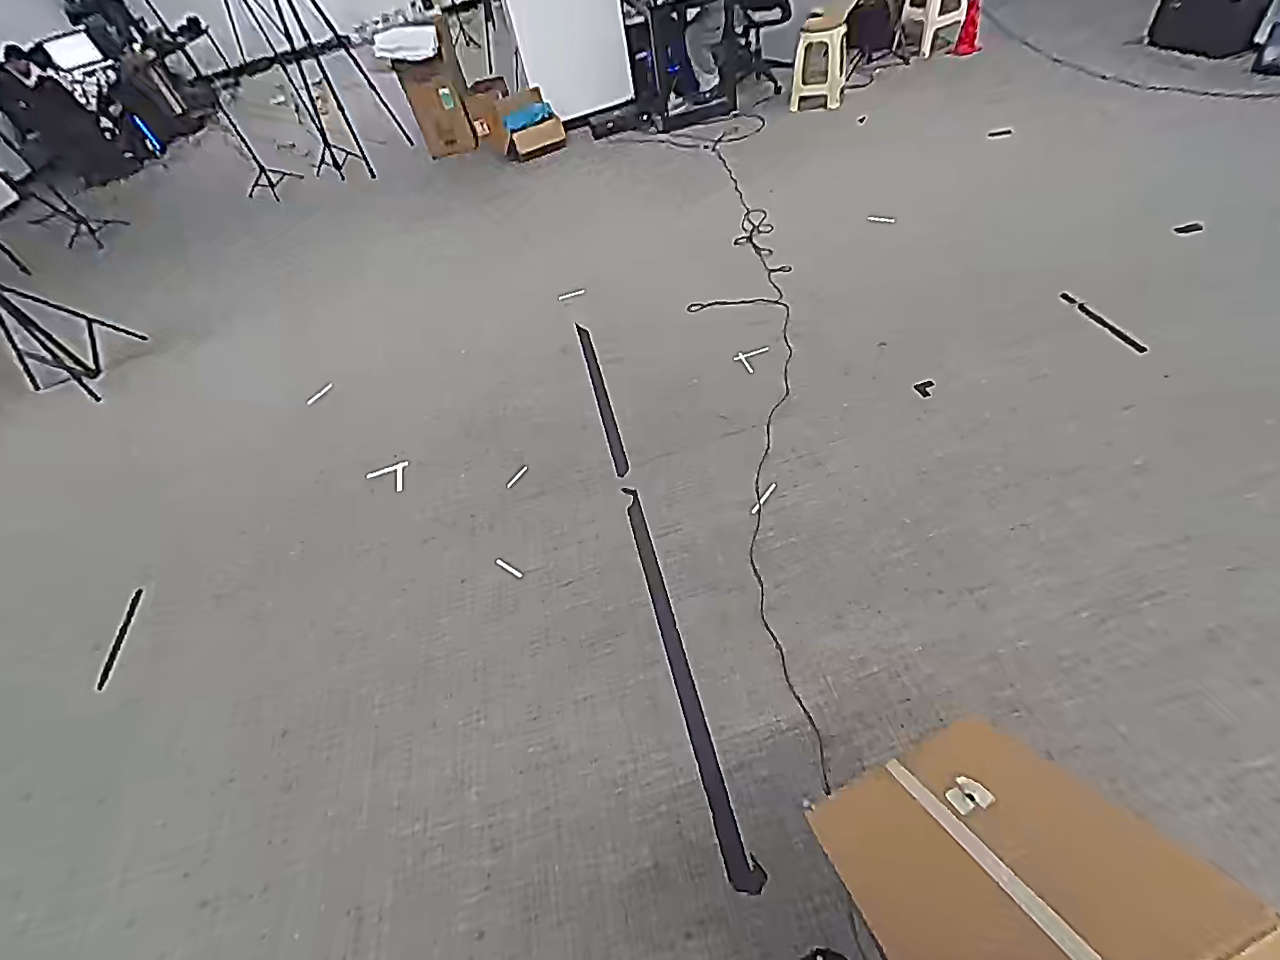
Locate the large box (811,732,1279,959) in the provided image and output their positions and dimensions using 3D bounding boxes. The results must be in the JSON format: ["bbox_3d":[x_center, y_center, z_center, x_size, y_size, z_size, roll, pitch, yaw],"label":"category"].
[{"bbox_3d":[0.482,0.597,0.655,0.320,0.408,0.320,-27,90,-3],"label":"large box"}]
